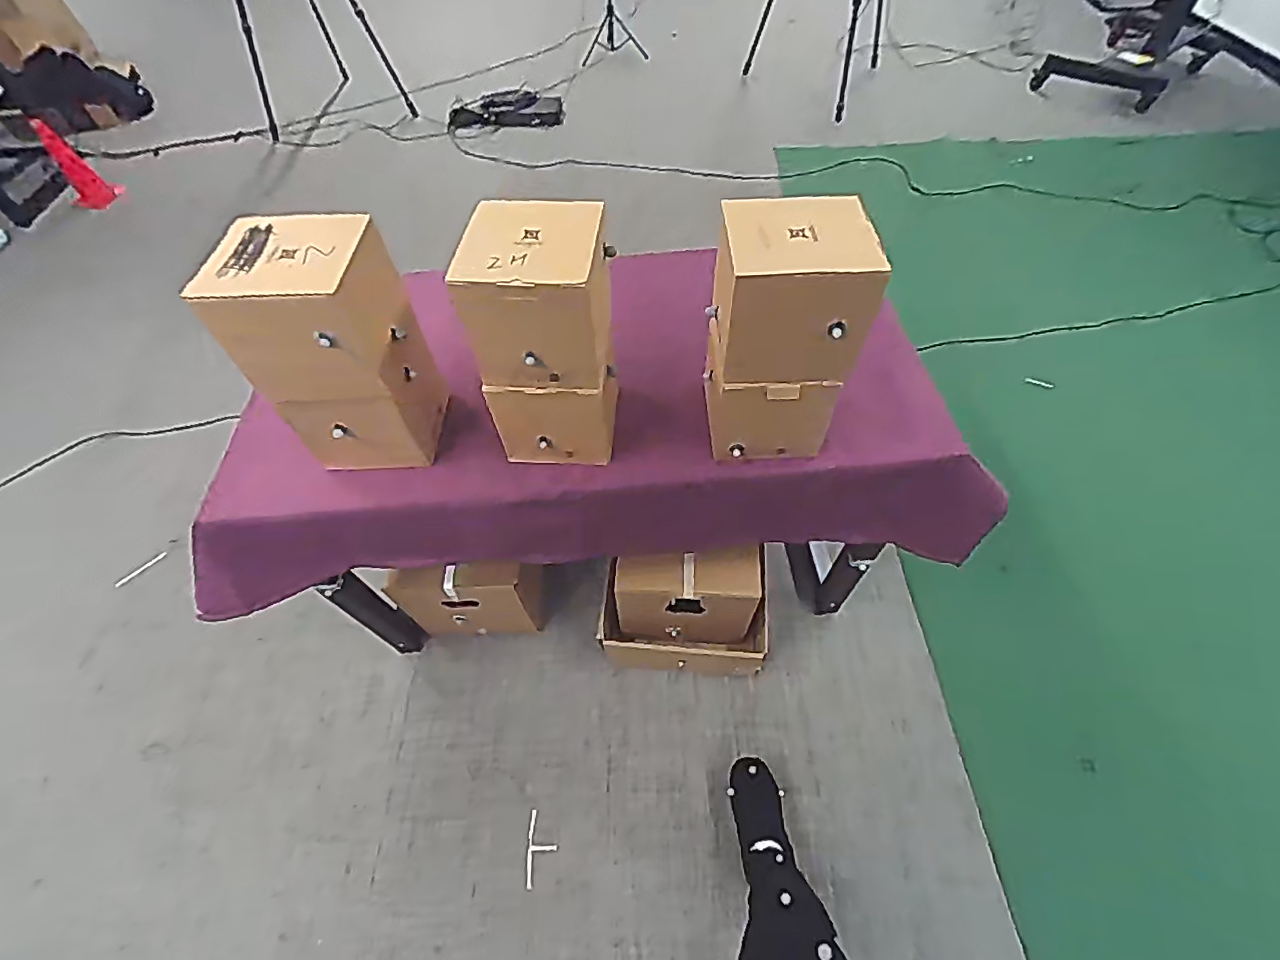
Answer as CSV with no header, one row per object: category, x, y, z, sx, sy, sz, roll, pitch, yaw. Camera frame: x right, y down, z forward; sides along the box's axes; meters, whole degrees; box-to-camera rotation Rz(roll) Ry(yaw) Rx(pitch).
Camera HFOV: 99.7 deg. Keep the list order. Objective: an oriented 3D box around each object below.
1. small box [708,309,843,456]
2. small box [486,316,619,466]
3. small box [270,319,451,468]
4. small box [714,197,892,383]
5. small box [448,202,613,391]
small box,0.196,-0.148,0.839,0.168,0.176,0.179,-2,55,1
small box,-0.125,-0.144,0.852,0.168,0.176,0.179,2,57,4
small box,-0.422,-0.130,0.851,0.179,0.176,0.168,-2,57,2
small box,0.195,-0.242,0.705,0.179,0.176,0.168,-1,55,2
small box,-0.129,-0.242,0.719,0.168,0.176,0.179,3,57,5
